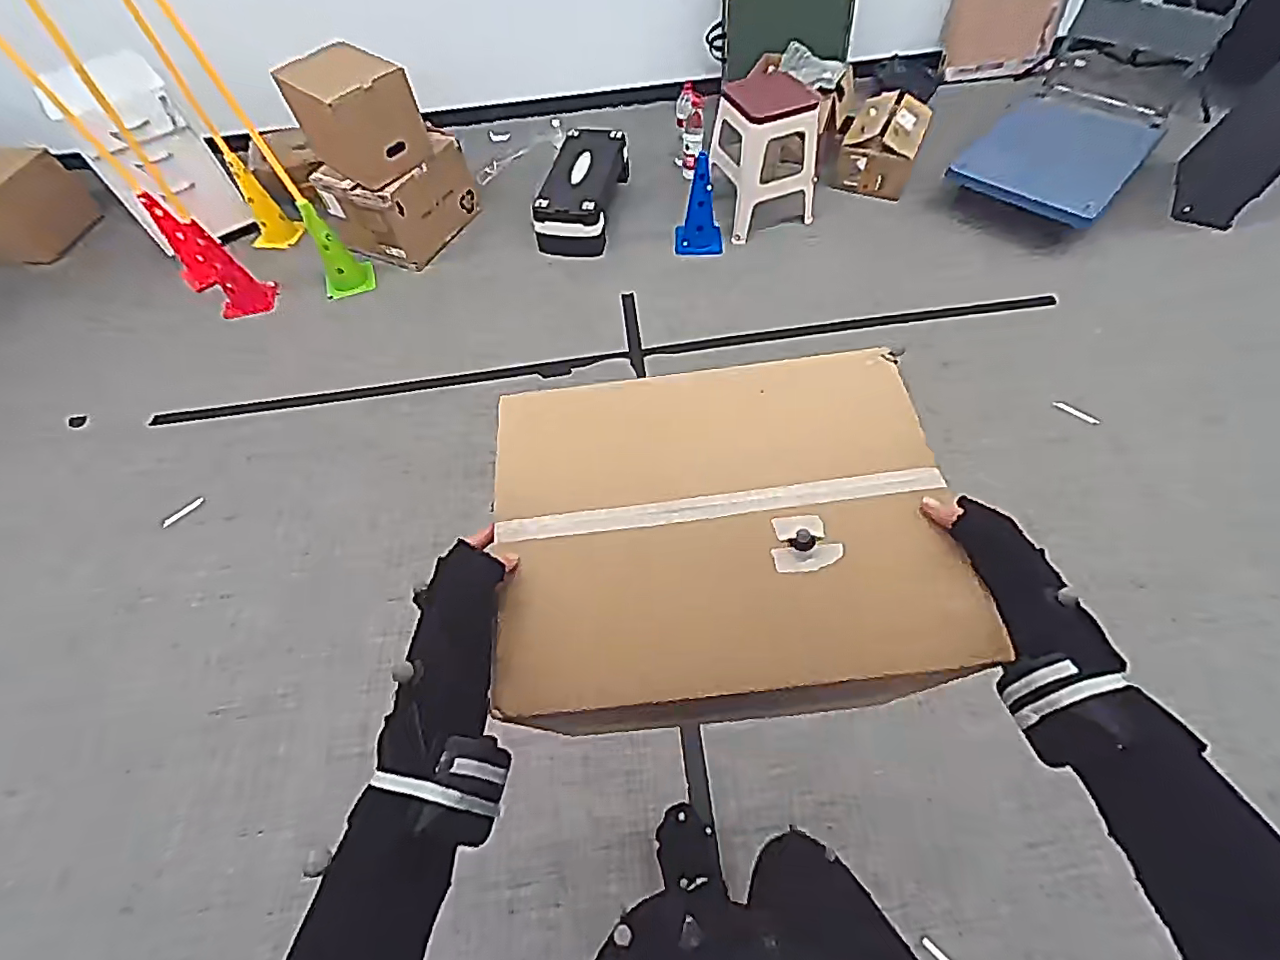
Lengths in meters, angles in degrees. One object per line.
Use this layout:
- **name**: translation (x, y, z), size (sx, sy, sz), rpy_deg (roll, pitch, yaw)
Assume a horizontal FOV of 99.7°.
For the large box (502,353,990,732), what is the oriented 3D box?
- **large box**: translation (0.079, 0.095, 0.633), size (0.408, 0.320, 0.320), rpy_deg (-7, 62, 2)
